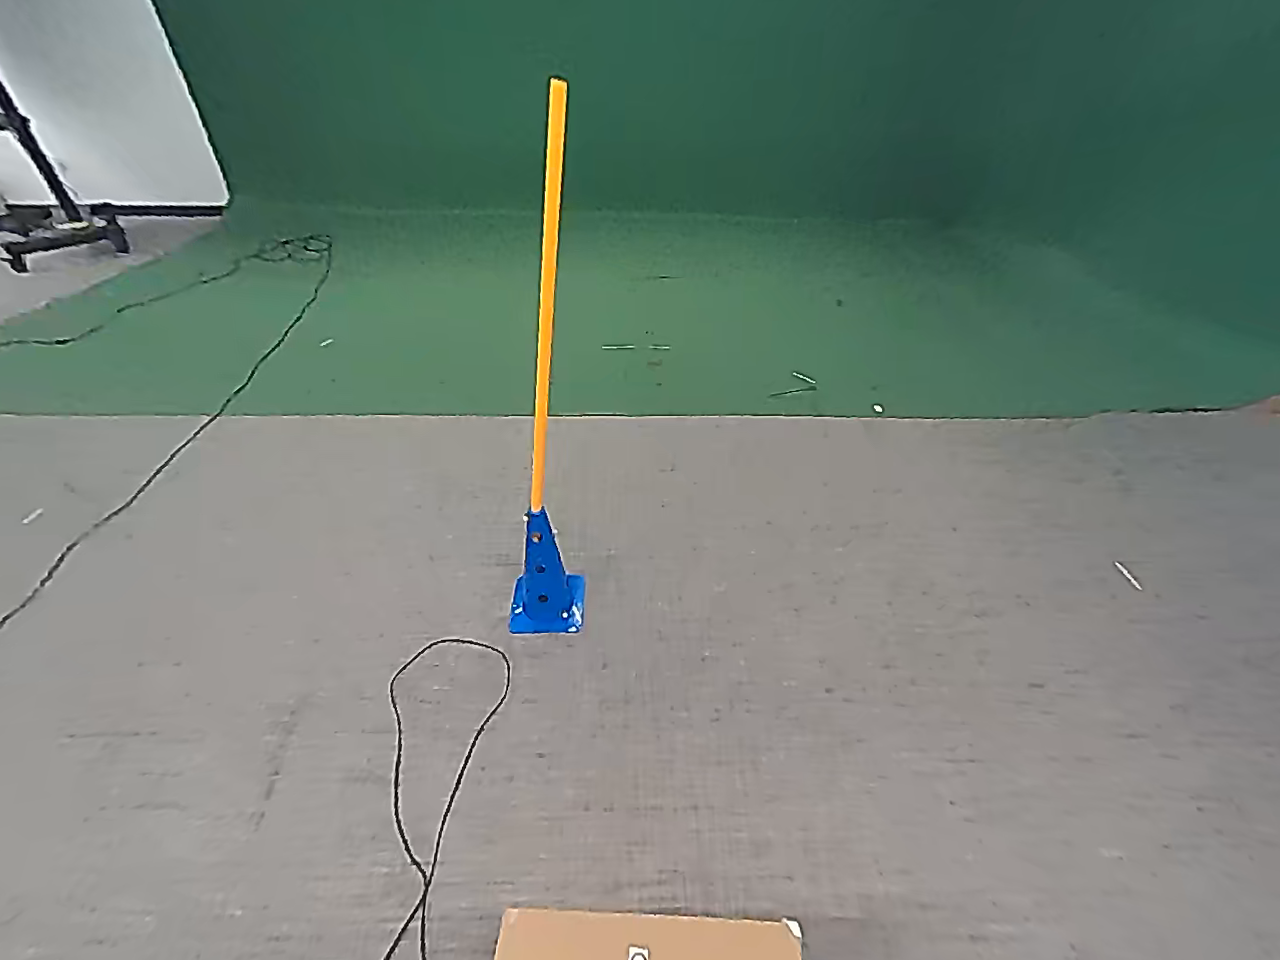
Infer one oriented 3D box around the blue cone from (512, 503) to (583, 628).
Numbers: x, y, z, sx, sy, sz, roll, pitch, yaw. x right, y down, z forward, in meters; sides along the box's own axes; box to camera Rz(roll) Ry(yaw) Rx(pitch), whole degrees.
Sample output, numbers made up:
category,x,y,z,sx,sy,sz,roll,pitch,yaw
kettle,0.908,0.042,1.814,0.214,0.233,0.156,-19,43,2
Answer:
category,x,y,z,sx,sy,sz,roll,pitch,yaw
blue cone,-0.248,0.204,1.403,0.193,0.380,0.192,-1,39,-5
